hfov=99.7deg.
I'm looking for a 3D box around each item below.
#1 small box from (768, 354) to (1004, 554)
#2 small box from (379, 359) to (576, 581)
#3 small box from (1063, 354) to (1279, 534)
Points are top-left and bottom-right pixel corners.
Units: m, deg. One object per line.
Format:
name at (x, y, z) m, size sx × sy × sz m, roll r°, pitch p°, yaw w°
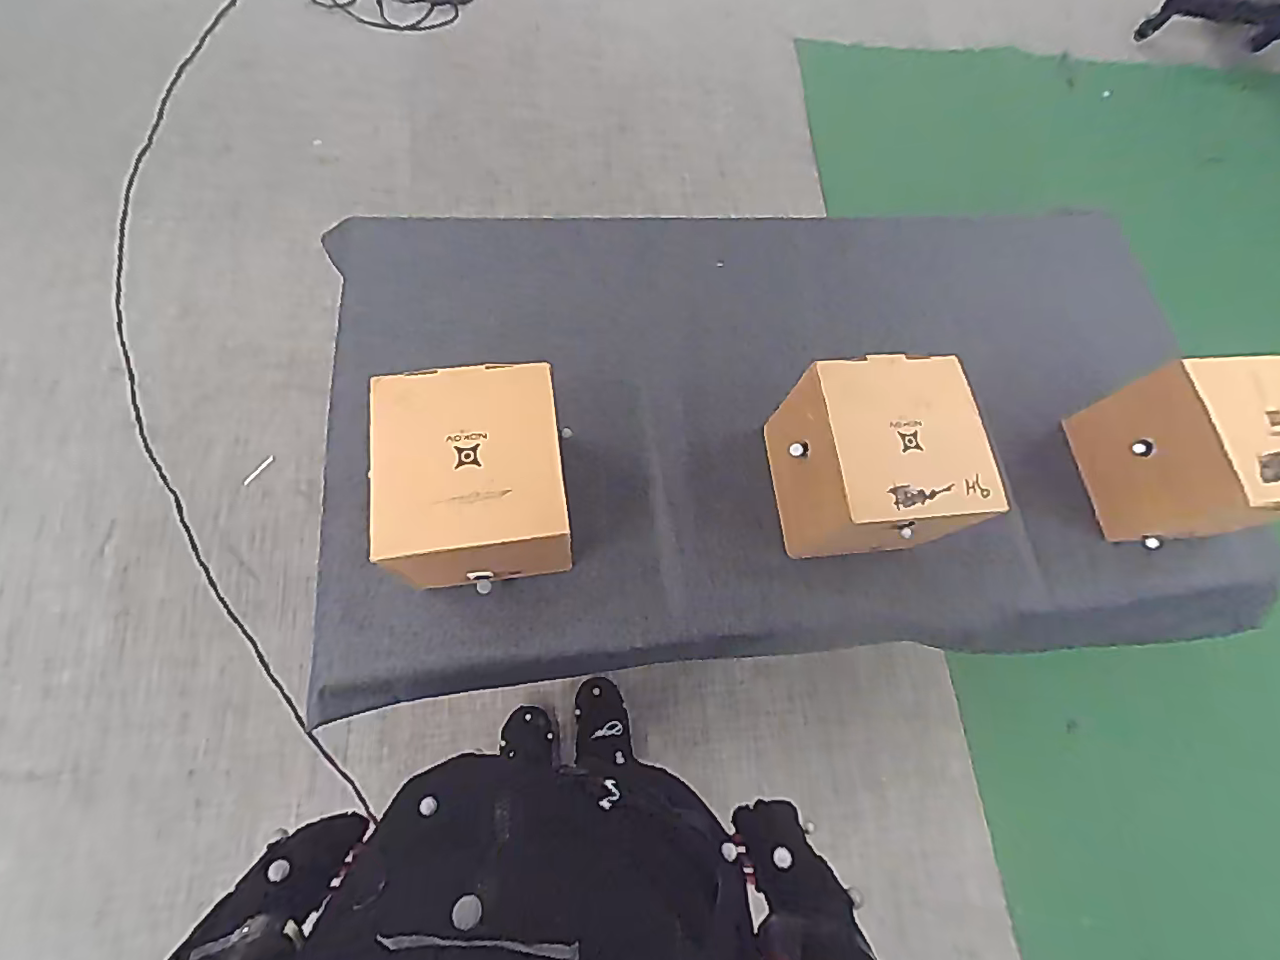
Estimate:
small box at (0.259, -0.023, 0.620) m, size 0.168 × 0.176 × 0.179 m, roll -4°, pitch 71°, yaw -7°
small box at (-0.159, -0.003, 0.565) m, size 0.168 × 0.176 × 0.179 m, roll -7°, pitch 72°, yaw -8°
small box at (0.684, -0.035, 0.668) m, size 0.168 × 0.176 × 0.179 m, roll -3°, pitch 70°, yaw -6°
